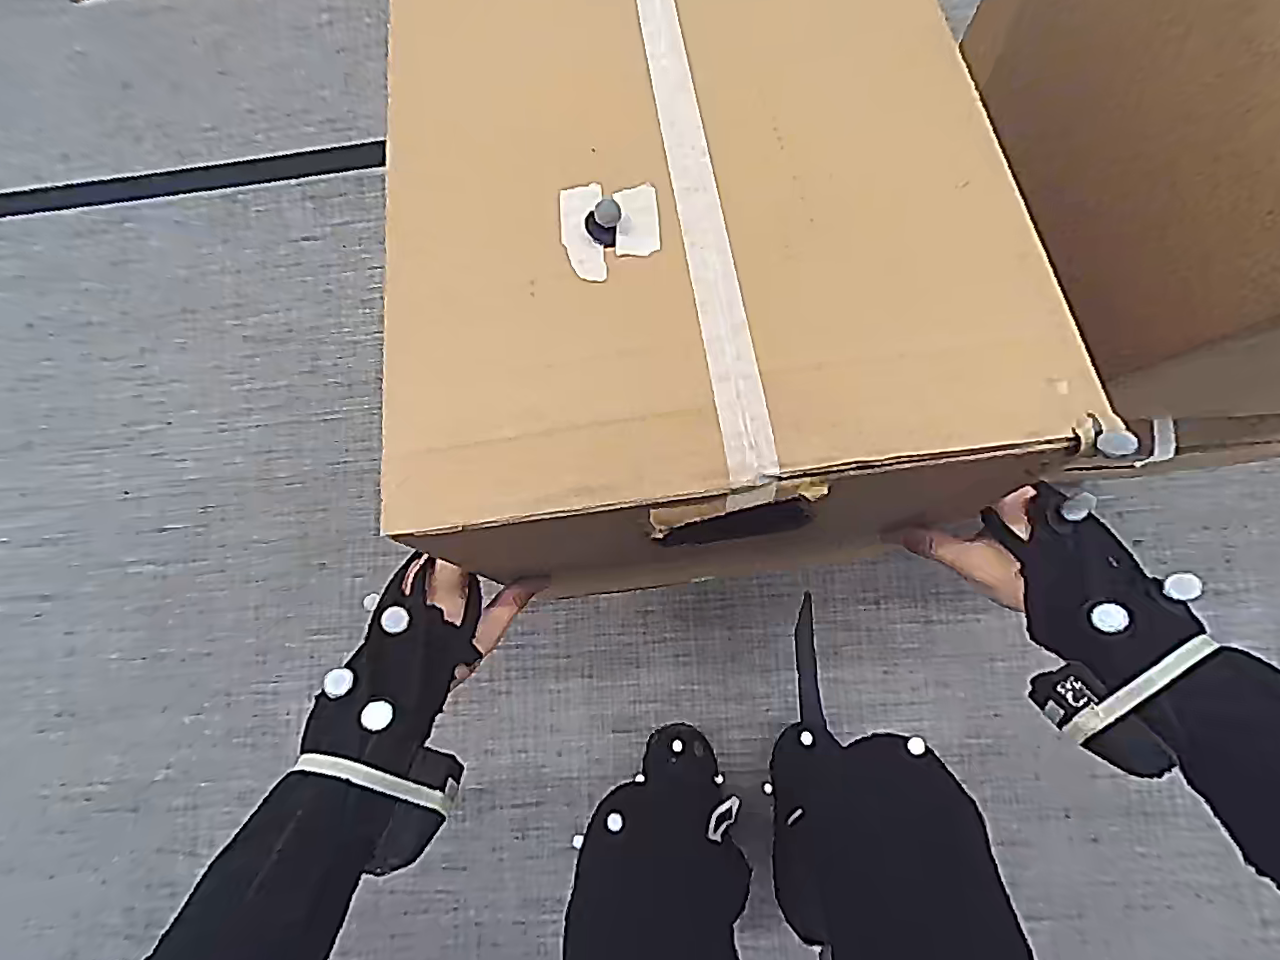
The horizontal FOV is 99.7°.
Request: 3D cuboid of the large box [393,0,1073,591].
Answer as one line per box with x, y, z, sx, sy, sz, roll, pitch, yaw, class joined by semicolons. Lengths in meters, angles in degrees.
0.022;-0.143;0.443;0.320;0.320;0.408;-9;73;0;large box
